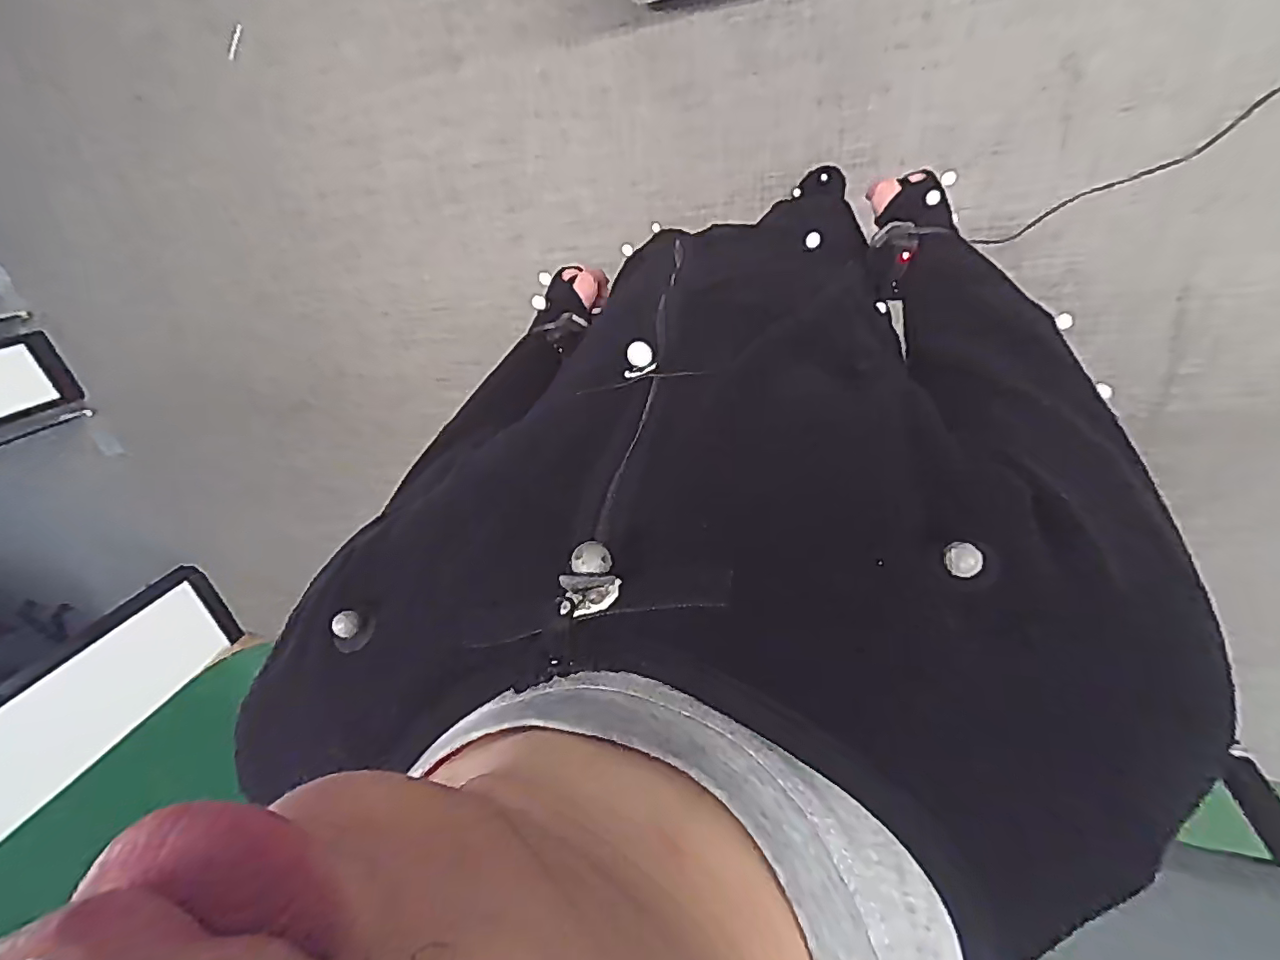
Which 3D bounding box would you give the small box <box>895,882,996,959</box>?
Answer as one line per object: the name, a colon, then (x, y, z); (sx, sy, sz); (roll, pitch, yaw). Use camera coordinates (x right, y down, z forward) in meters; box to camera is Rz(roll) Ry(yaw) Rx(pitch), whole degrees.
small box: (0.676, 1.036, 1.200); (0.179, 0.176, 0.168); (1, 119, 19)
